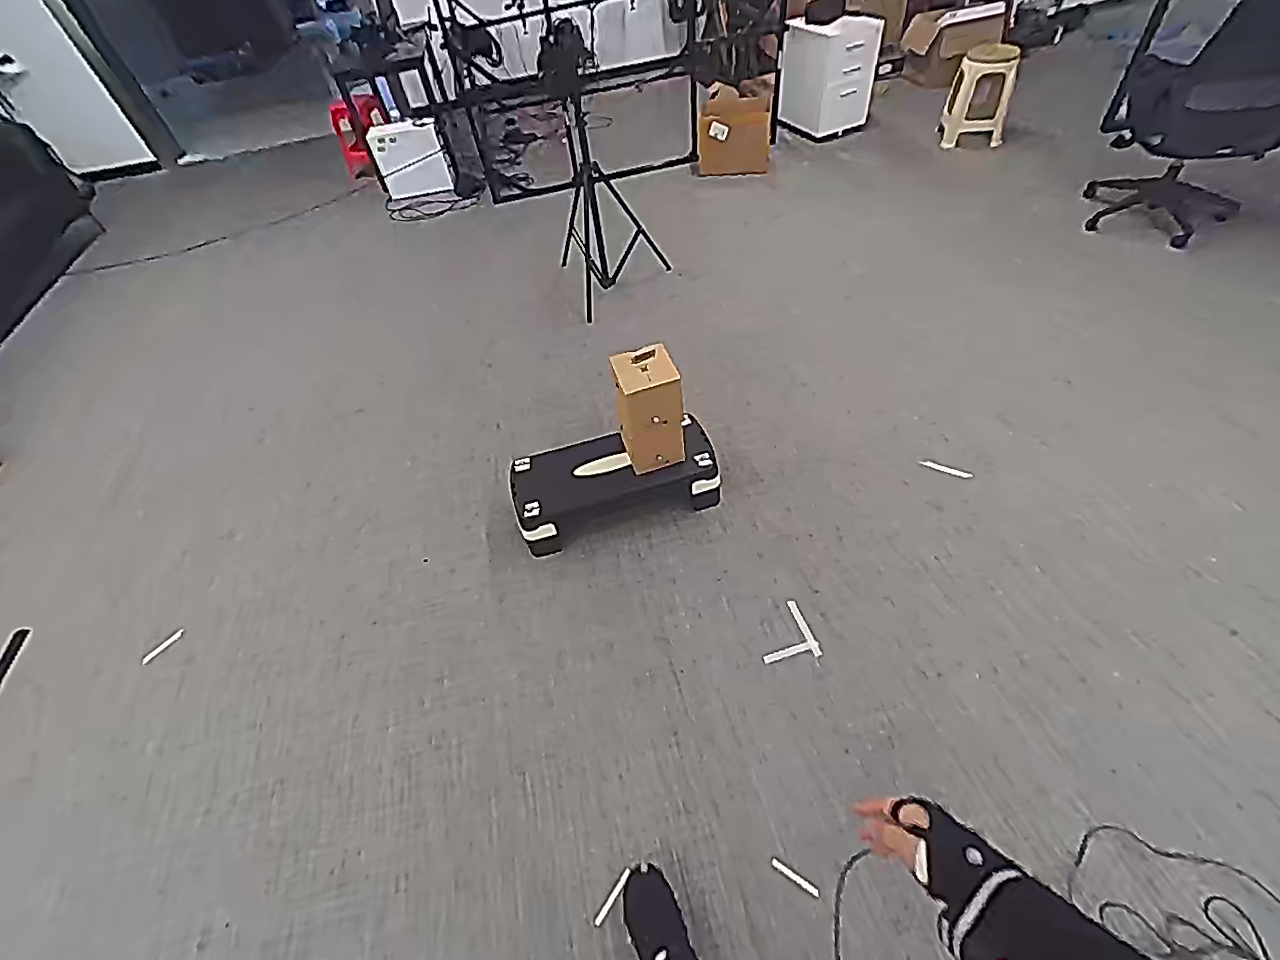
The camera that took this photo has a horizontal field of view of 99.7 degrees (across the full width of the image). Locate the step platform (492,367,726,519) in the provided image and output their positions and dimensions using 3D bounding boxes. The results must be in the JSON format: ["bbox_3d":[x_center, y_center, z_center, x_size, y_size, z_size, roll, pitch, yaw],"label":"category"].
[{"bbox_3d":[-0.088,-0.114,1.654,0.684,0.204,0.286,-16,49,-6],"label":"step platform"}]

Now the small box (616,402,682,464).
[{"bbox_3d":[0.032,-0.154,1.716,0.168,0.176,0.179,-17,50,-5],"label":"small box"}]

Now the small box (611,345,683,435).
[{"bbox_3d":[0.021,-0.264,1.594,0.168,0.176,0.179,-17,51,-6],"label":"small box"}]
